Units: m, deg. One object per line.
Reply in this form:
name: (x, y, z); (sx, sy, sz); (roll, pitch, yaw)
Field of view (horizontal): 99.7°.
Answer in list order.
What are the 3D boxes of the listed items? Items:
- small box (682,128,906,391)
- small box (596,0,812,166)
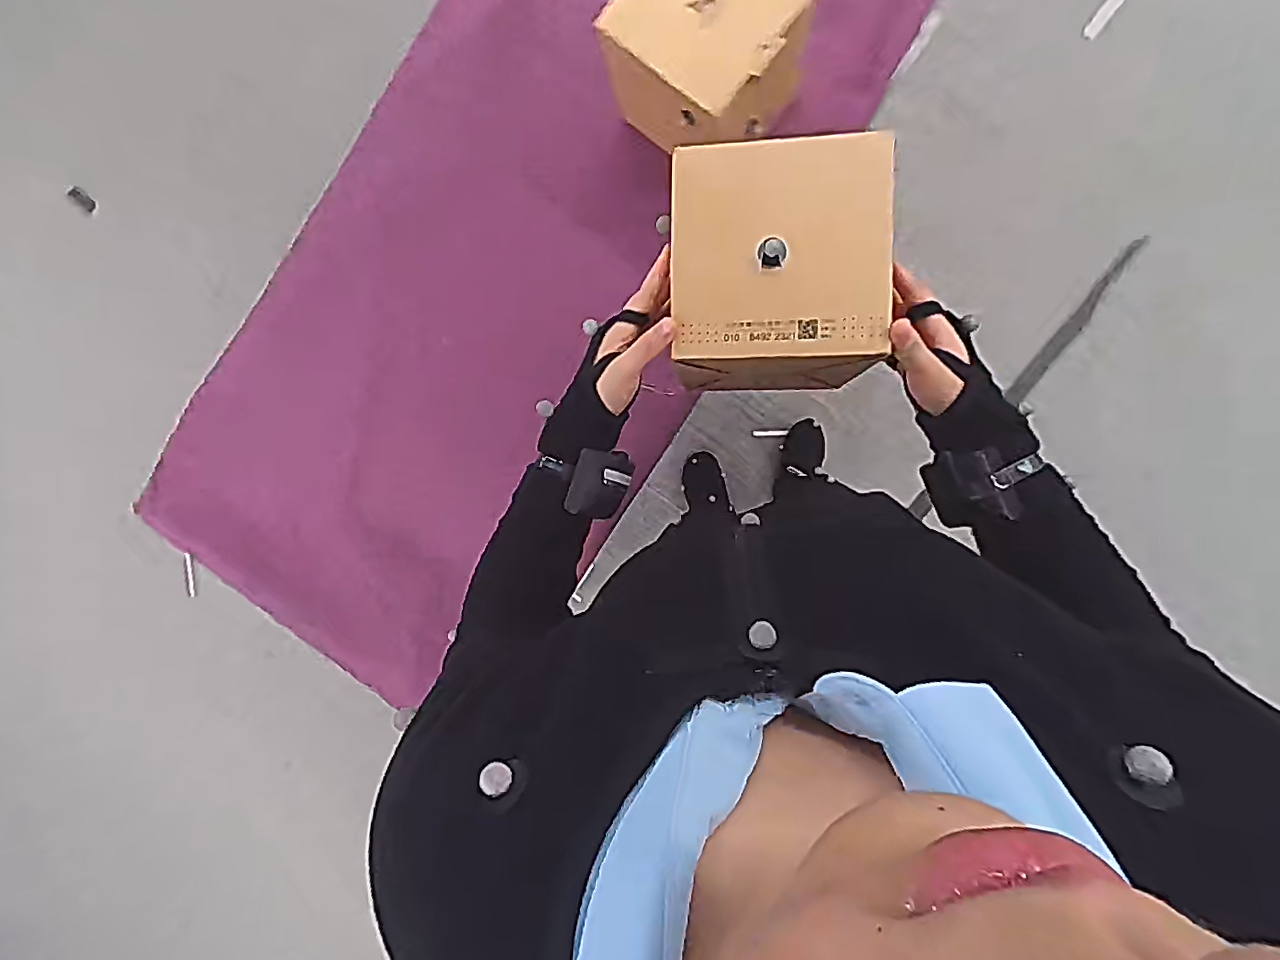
small box: (0.127, -0.176, 0.488); (0.168, 0.179, 0.176); (2, 92, 9)
small box: (0.077, -0.507, 0.653); (0.179, 0.176, 0.168); (40, 98, 4)
